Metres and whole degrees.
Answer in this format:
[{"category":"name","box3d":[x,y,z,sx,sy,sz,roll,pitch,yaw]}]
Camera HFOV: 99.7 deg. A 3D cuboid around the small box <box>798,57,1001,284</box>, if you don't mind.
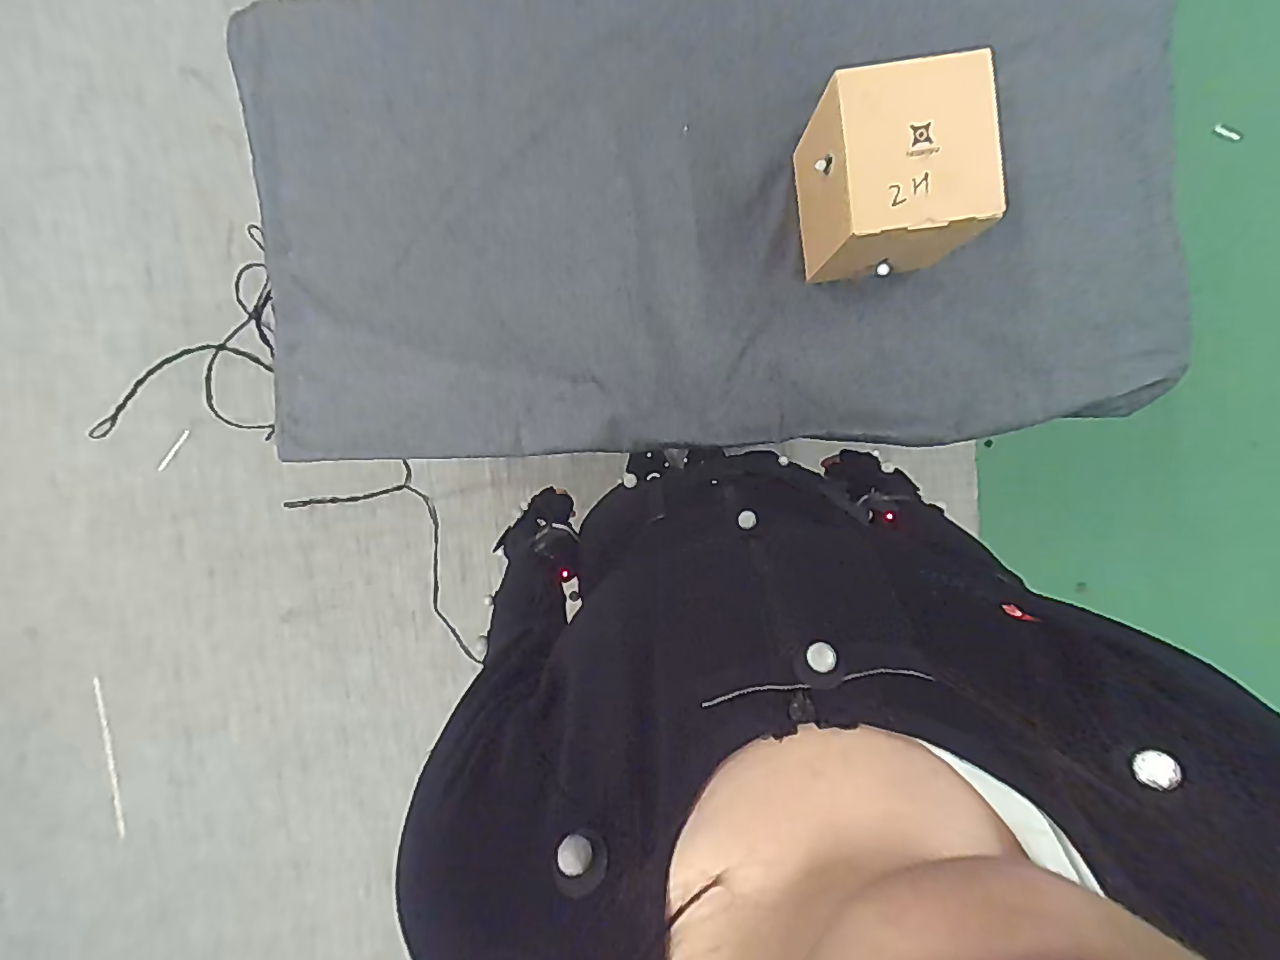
[{"category":"small box","box3d":[0.301,-0.361,0.661,0.168,0.176,0.179,-7,93,2]}]
